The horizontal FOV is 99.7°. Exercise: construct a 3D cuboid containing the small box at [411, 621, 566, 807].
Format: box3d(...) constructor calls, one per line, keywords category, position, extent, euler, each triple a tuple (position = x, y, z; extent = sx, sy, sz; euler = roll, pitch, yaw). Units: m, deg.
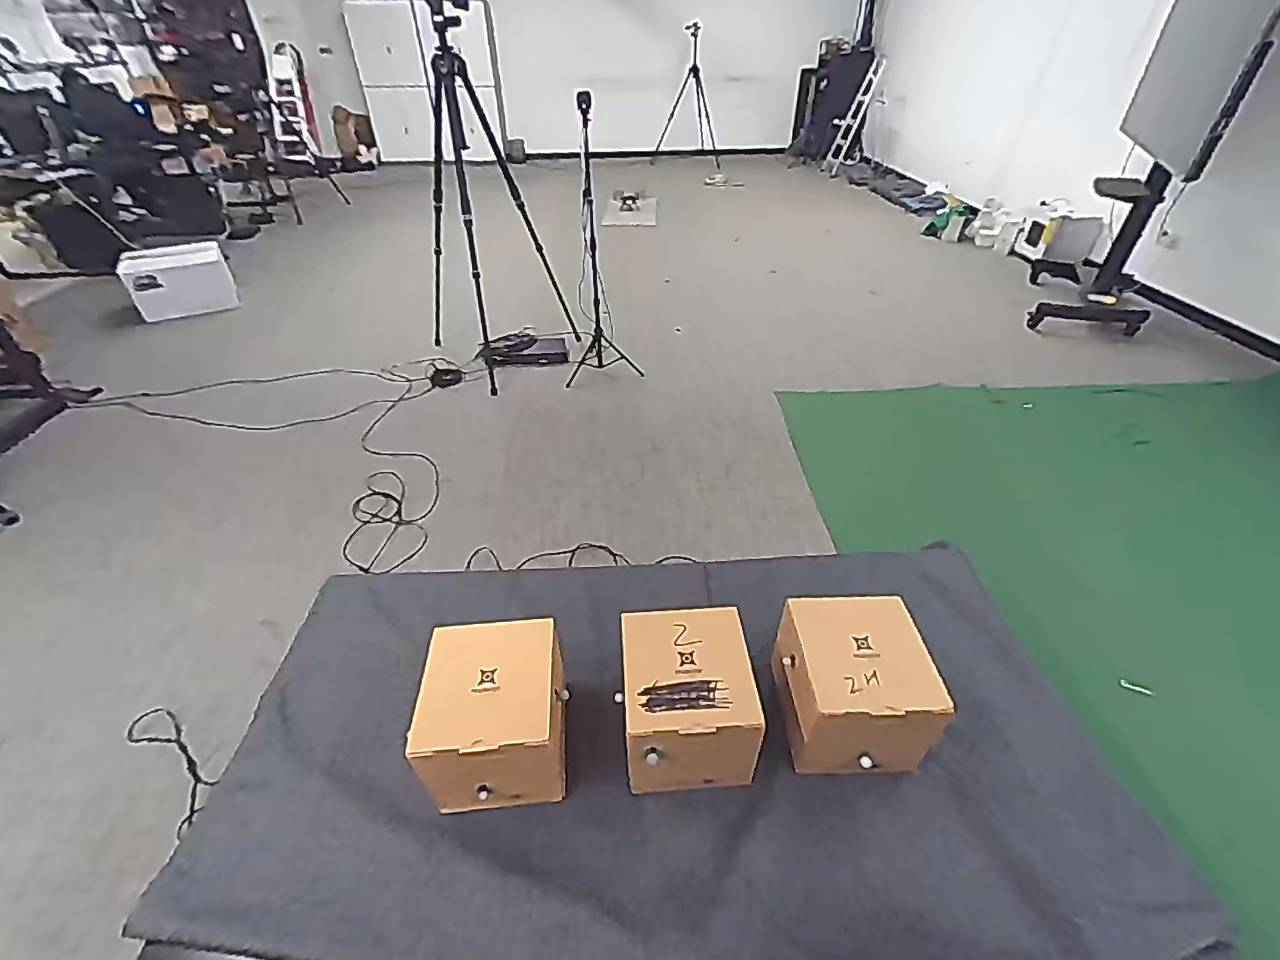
box3d(category="small box", position=(-0.193, 0.319, 0.745), extent=(0.168, 0.176, 0.179), euler=(-3, 40, -4))
